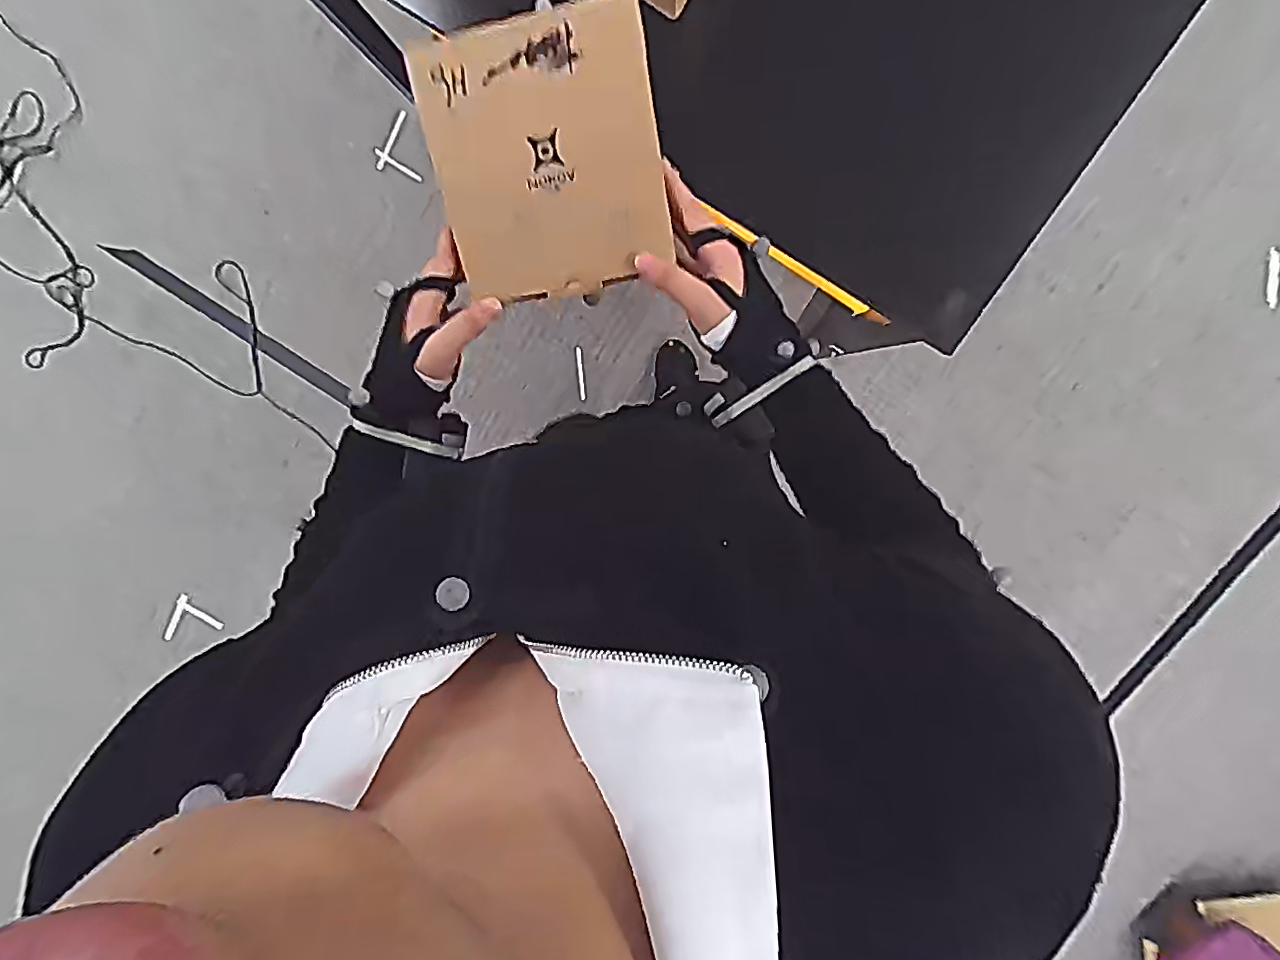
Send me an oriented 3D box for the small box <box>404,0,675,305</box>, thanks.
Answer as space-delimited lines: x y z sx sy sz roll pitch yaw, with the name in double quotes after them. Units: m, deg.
-0.062 -0.262 0.461 0.168 0.176 0.179 -9 113 6 "small box"
